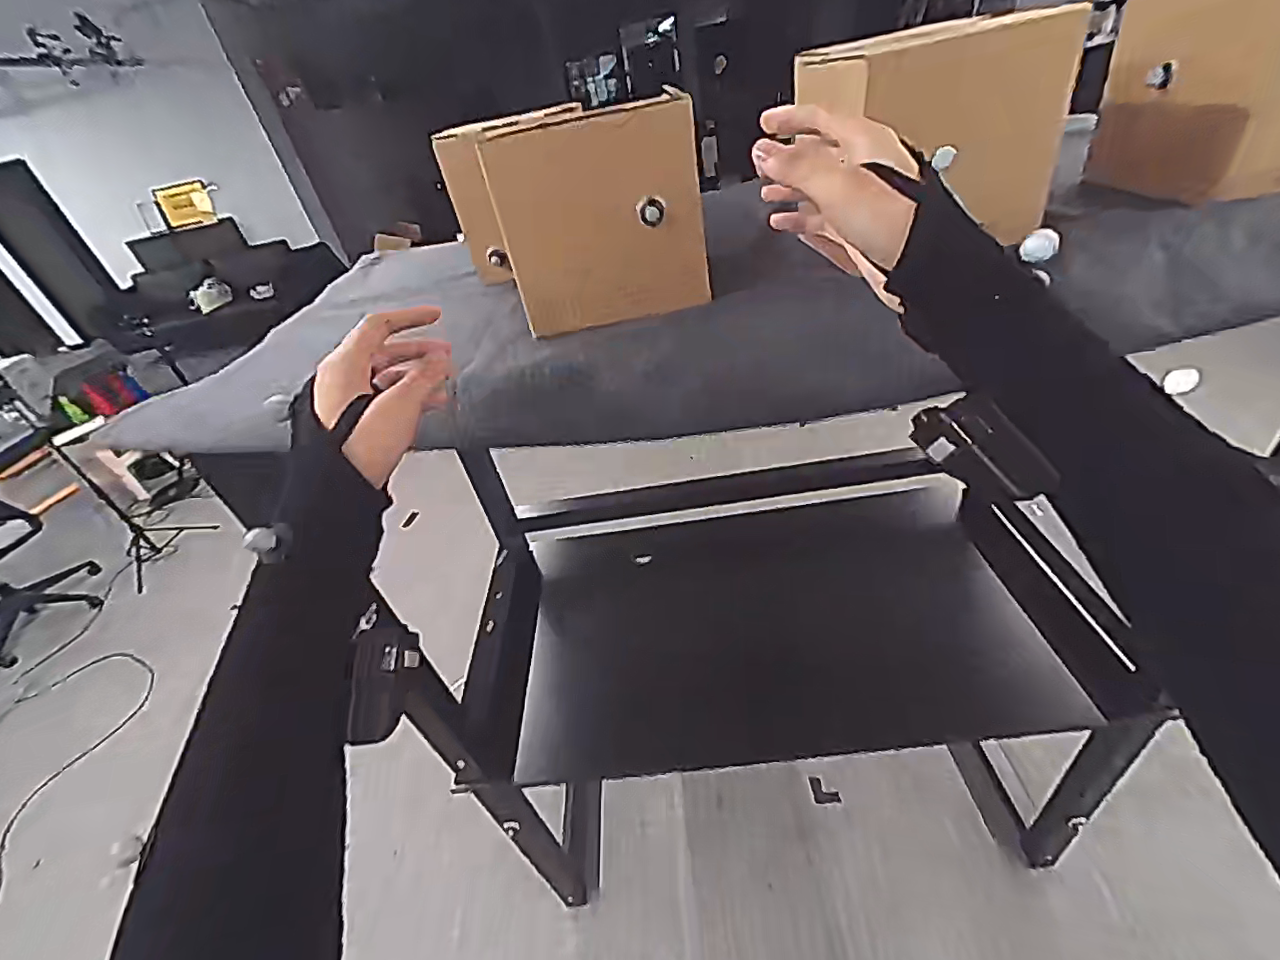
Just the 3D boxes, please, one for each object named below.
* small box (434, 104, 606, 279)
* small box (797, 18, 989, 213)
[{"bbox_3d":[-0.143,-0.379,0.719,0.168,0.176,0.179,-8,36,5],"label":"small box"},{"bbox_3d":[0.297,-0.452,0.683,0.168,0.176,0.179,-9,36,6],"label":"small box"}]
